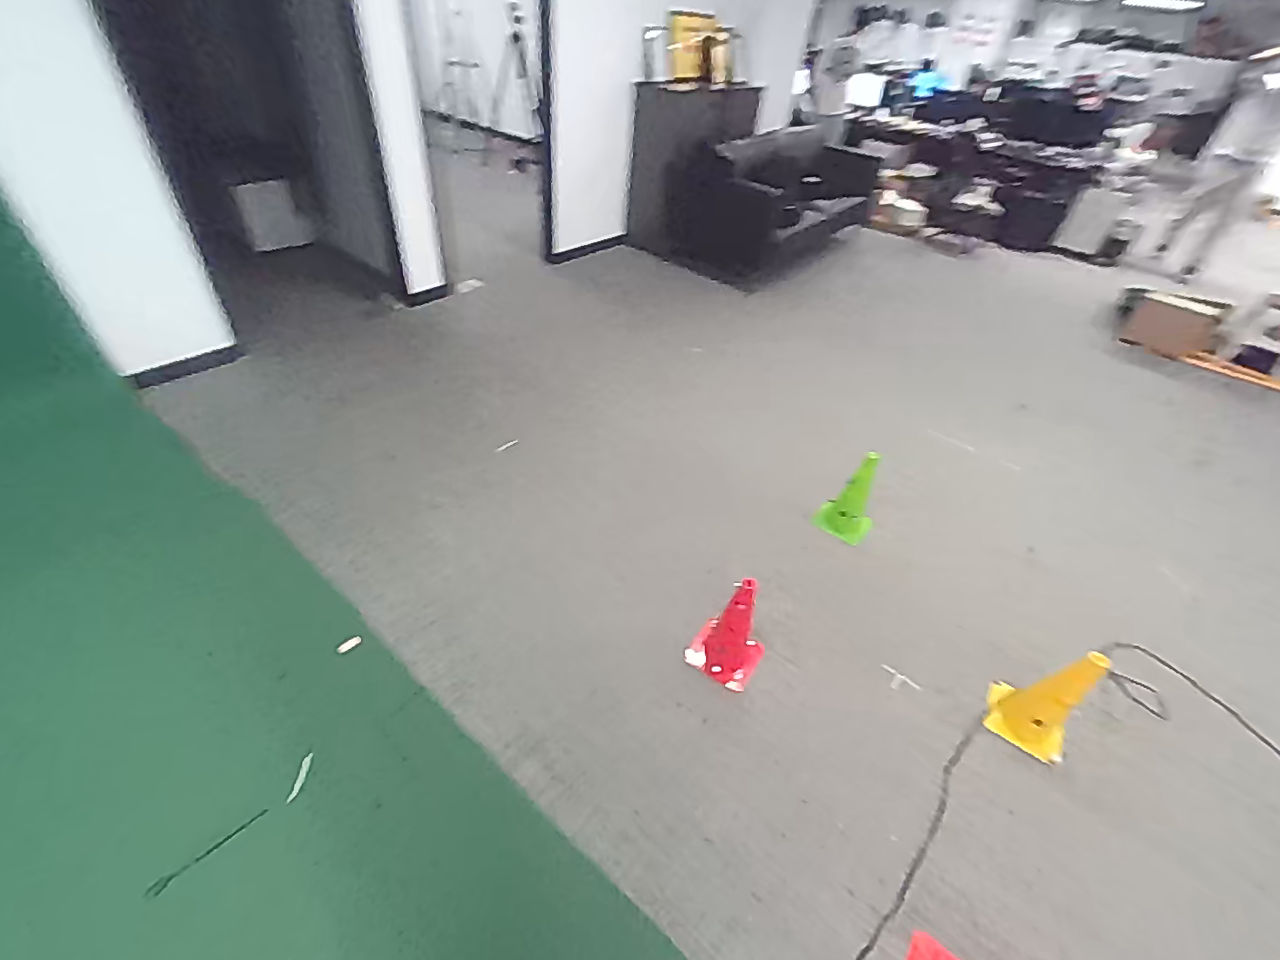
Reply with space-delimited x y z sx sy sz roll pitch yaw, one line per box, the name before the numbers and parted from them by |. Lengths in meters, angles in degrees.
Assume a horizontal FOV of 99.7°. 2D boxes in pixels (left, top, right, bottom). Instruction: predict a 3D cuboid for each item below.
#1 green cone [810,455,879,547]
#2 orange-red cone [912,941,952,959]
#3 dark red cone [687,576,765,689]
green cone | 0.838 0.053 2.106 0.202 0.368 0.200 31 46 24
orange-red cone | 0.662 0.983 1.002 0.198 0.360 0.199 32 46 25
dark red cone | 0.283 0.412 1.575 0.202 0.394 0.201 27 46 22
